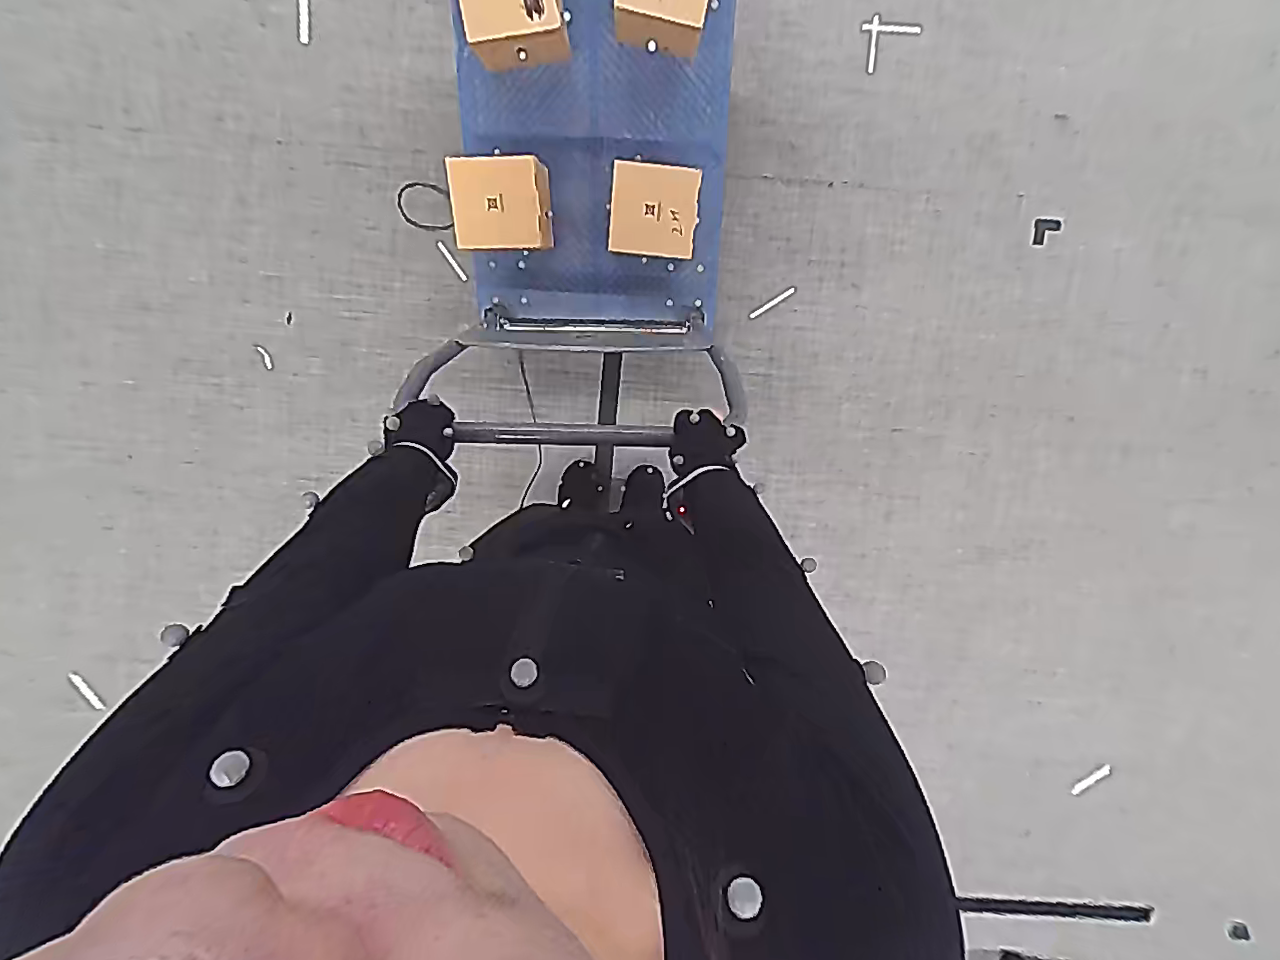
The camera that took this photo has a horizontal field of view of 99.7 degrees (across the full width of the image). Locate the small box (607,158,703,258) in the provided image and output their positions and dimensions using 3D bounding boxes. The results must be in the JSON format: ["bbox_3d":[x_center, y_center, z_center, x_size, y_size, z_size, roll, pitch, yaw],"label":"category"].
[{"bbox_3d":[0.028,-0.569,1.151,0.179,0.176,0.168,5,113,-2],"label":"small box"}]

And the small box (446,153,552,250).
[{"bbox_3d":[-0.289,-0.582,1.145,0.179,0.176,0.168,-2,112,-1],"label":"small box"}]

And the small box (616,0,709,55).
[{"bbox_3d":[0.050,-0.935,1.002,0.168,0.176,0.179,11,113,-5],"label":"small box"}]
